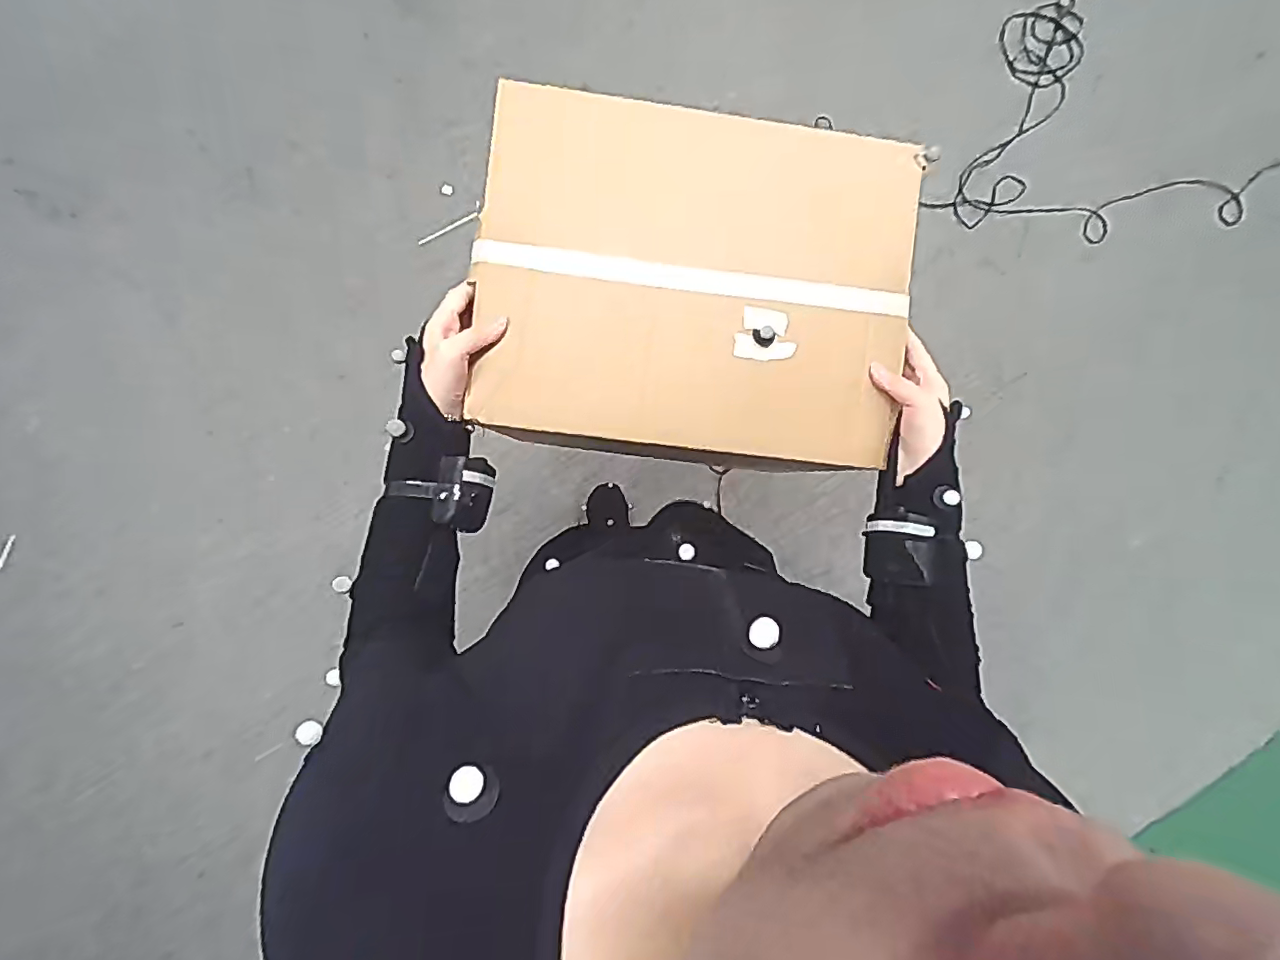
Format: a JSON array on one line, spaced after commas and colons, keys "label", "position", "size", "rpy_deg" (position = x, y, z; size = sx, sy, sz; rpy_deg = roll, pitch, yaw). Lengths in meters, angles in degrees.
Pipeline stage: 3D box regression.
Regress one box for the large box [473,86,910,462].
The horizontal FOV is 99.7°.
[{"label": "large box", "position": [0.041, -0.196, 0.659], "size": [0.408, 0.320, 0.320], "rpy_deg": [6, 91, -5]}]
